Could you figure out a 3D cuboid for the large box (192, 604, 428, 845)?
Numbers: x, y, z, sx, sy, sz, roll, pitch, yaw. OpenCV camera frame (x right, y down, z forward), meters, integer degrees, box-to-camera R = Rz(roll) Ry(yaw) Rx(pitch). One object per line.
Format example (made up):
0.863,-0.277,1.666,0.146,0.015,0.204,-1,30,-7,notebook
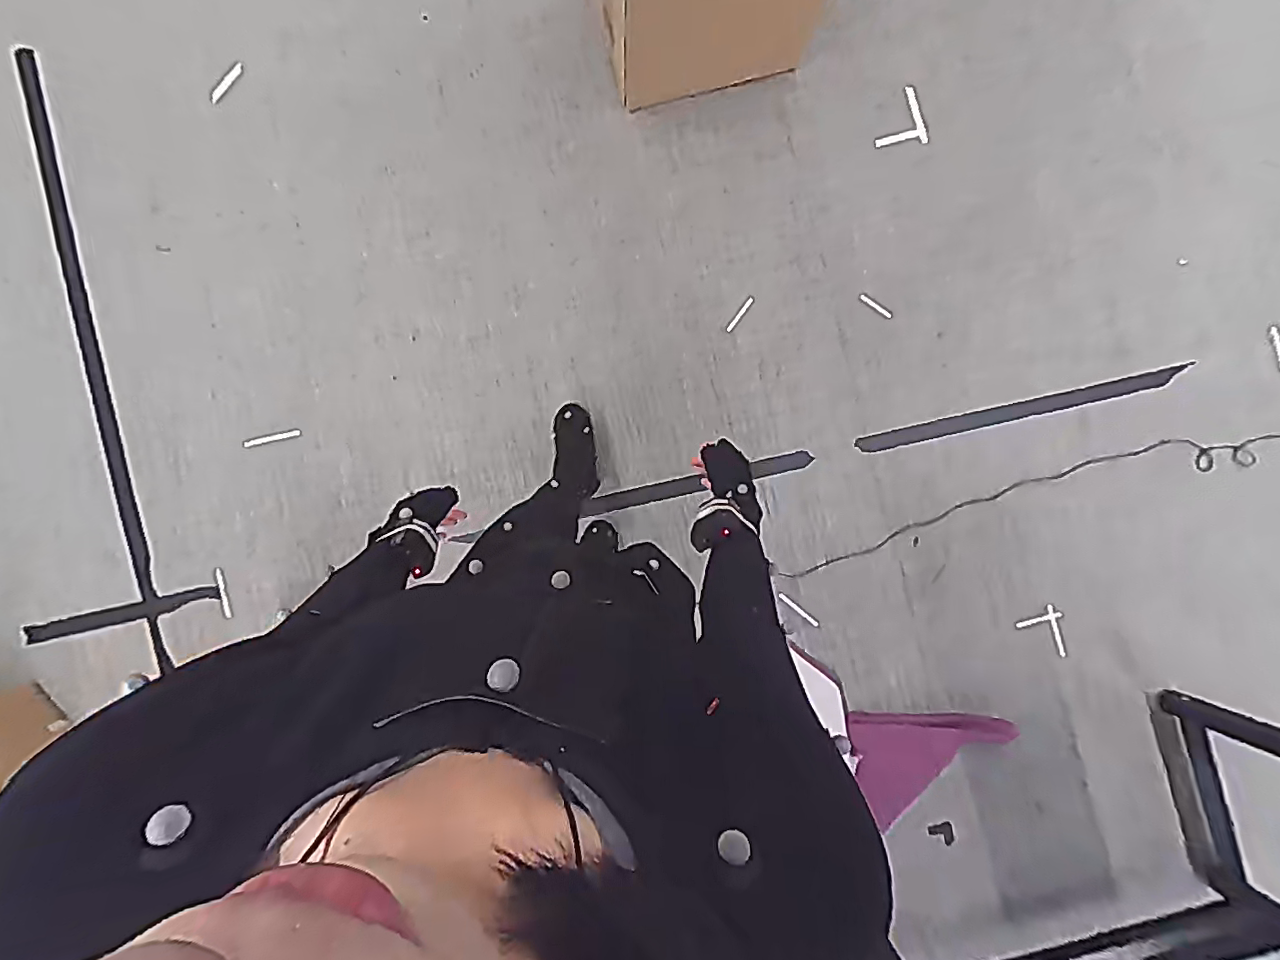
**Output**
-0.777,0.566,1.330,0.320,0.320,0.408,-18,88,-4,large box
